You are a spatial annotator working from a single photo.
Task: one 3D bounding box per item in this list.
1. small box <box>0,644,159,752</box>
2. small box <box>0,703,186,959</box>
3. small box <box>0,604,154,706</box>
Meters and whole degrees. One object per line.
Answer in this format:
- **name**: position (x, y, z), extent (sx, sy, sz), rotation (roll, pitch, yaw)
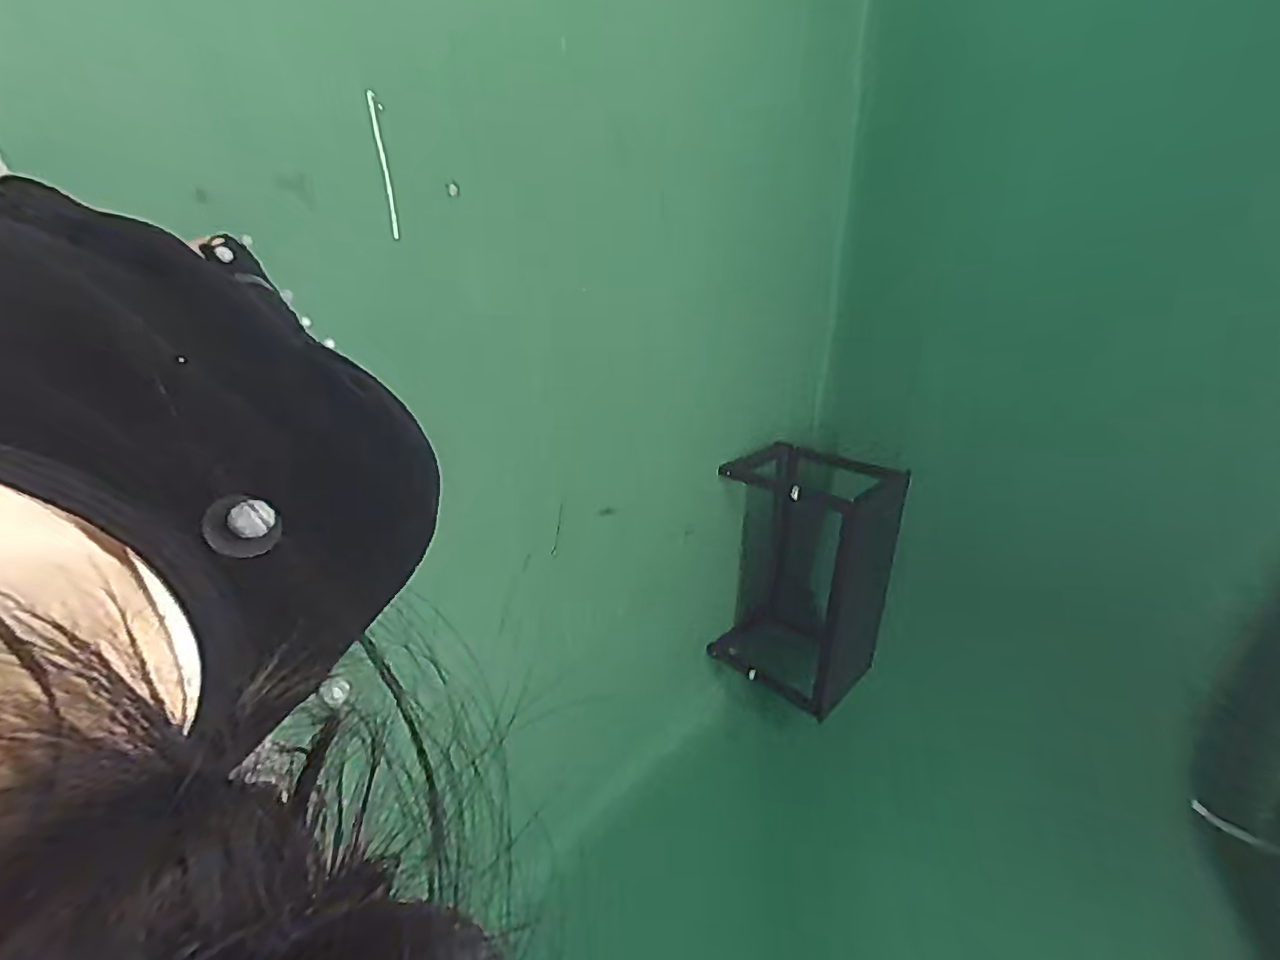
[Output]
- **small box**: position (-0.815, 0.368, 0.748), extent (0.179, 0.176, 0.168), rotation (-39, 130, -31)
- **small box**: position (-0.696, 0.412, 0.643), extent (0.179, 0.176, 0.168), rotation (-37, 130, -30)
- **small box**: position (-0.929, 0.320, 0.855), extent (0.168, 0.176, 0.179), rotation (-38, 130, -31)
